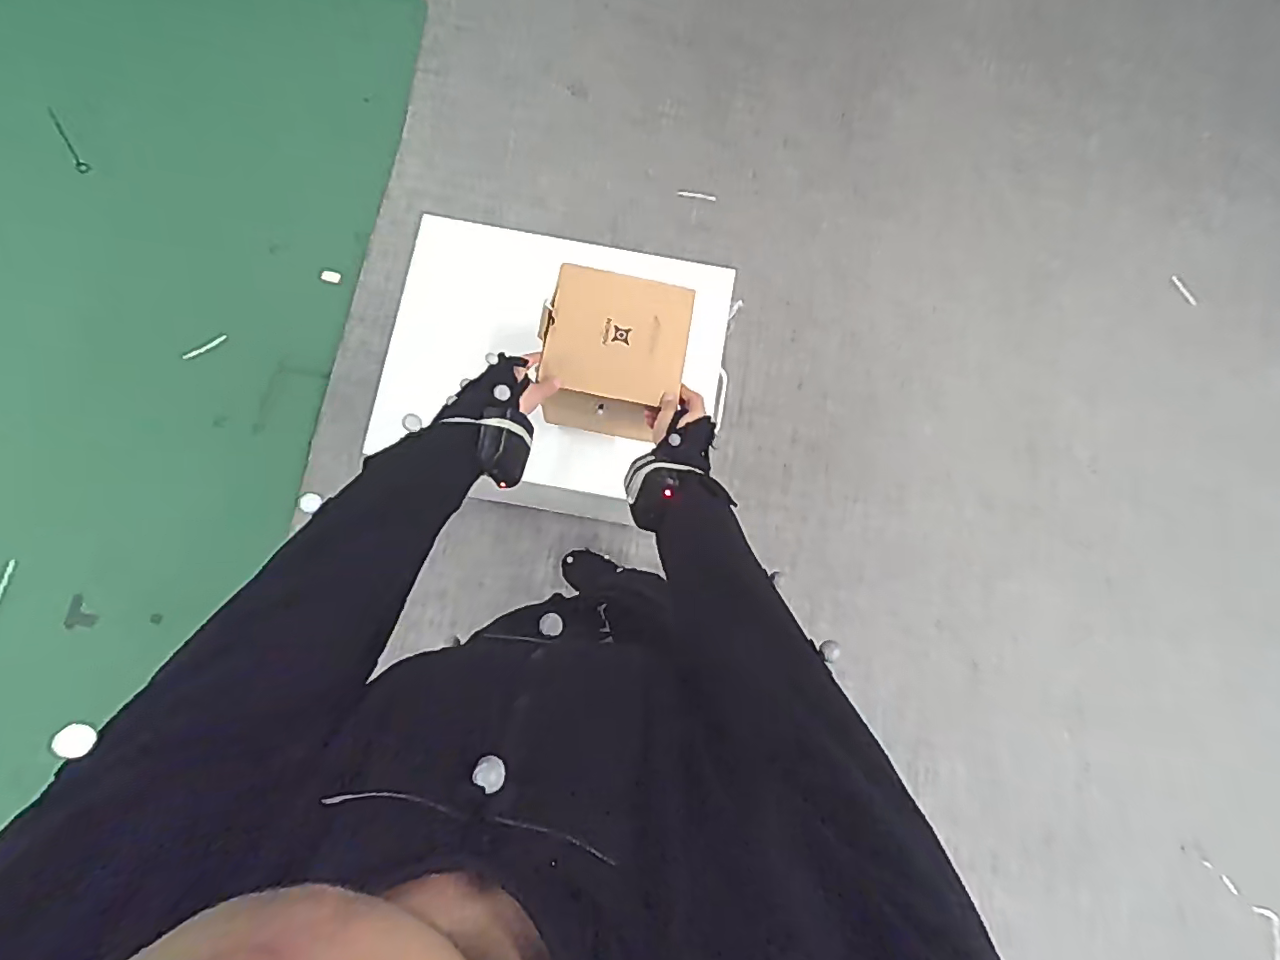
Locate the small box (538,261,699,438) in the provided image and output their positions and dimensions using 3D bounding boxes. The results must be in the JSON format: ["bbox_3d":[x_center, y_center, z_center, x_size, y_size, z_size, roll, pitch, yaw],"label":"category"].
[{"bbox_3d":[-0.031,-0.164,0.738,0.179,0.176,0.168,10,79,-5],"label":"small box"}]
